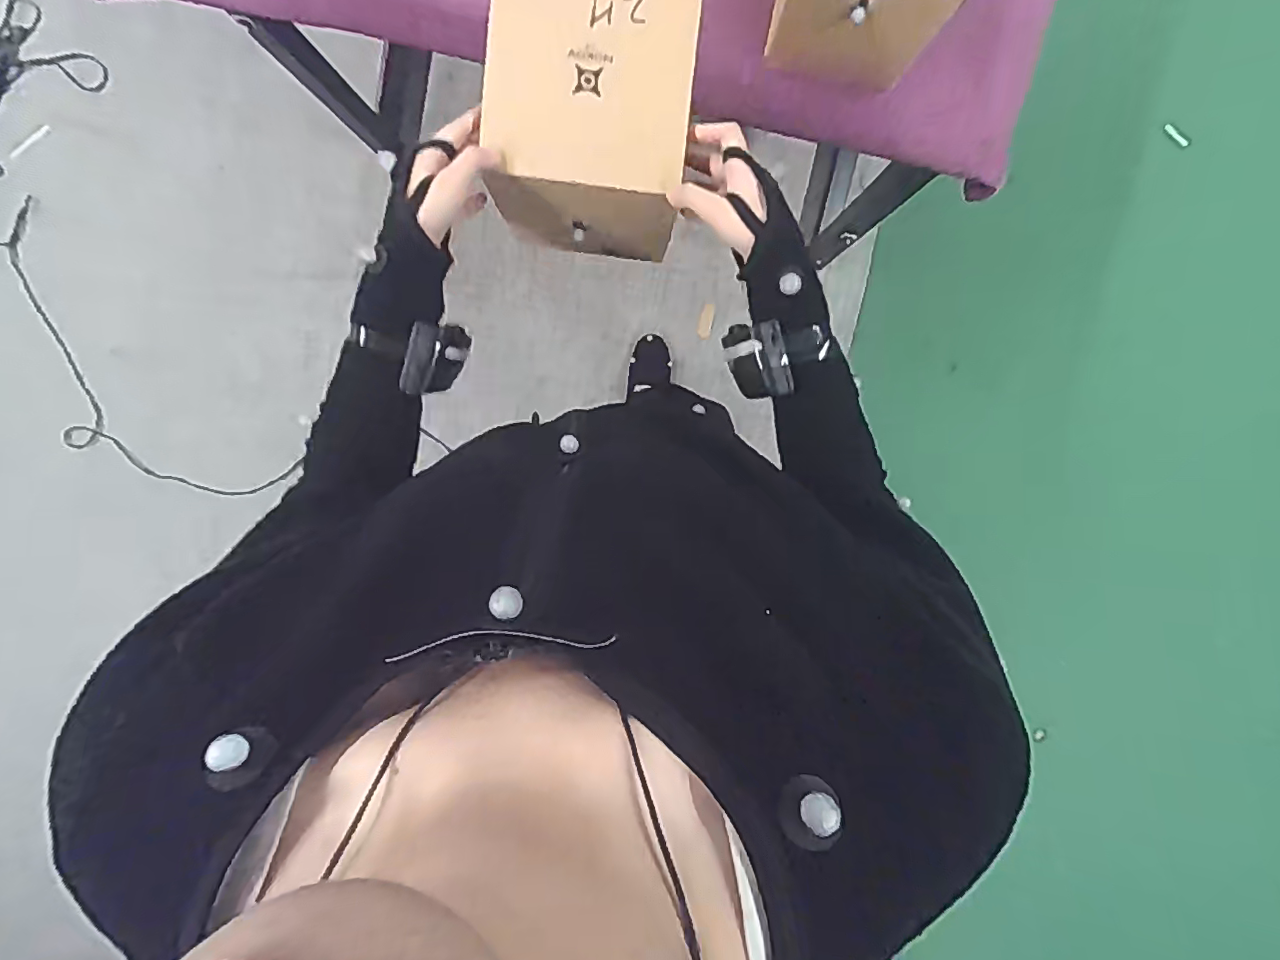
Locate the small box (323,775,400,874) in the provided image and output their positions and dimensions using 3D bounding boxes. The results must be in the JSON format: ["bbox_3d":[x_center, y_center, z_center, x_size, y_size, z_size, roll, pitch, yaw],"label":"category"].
[{"bbox_3d":[-0.785,0.951,1.502,0.179,0.176,0.168,4,96,-1],"label":"small box"}]

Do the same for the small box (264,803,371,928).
[{"bbox_3d":[-0.788,0.946,1.337,0.168,0.176,0.179,8,97,-2],"label":"small box"}]

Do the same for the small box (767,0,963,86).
[{"bbox_3d":[0.261,-0.592,0.616,0.179,0.176,0.168,11,98,0],"label":"small box"}]
